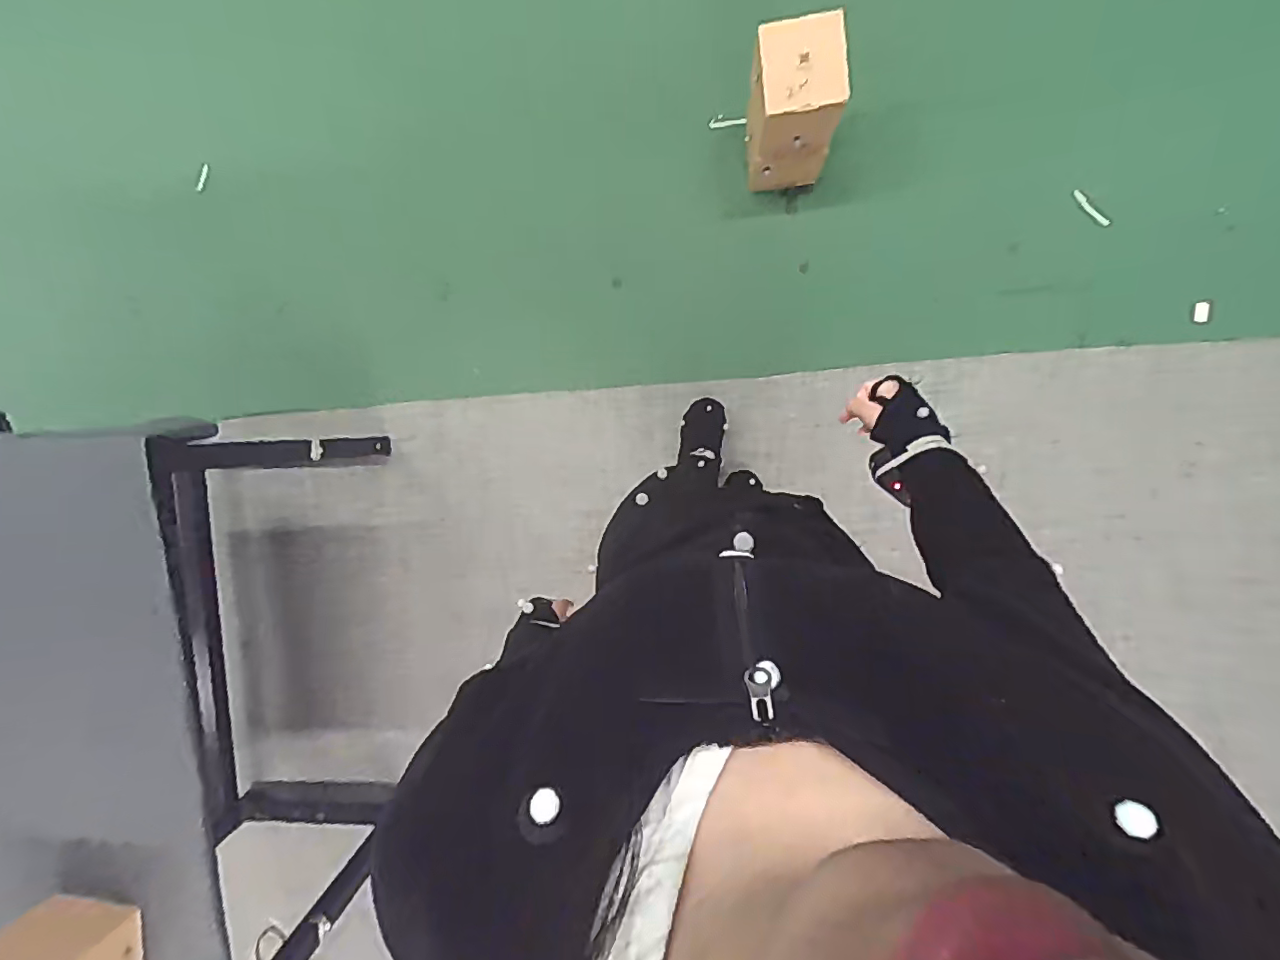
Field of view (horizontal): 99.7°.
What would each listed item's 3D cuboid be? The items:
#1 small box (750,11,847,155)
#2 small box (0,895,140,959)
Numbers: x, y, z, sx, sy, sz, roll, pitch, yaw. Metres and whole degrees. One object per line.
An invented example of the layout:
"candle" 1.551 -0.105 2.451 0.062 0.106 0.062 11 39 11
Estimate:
"small box" 0.330 -0.834 1.152 0.168 0.176 0.179 -6 94 7
"small box" -0.967 0.826 0.881 0.179 0.176 0.168 3 96 7
